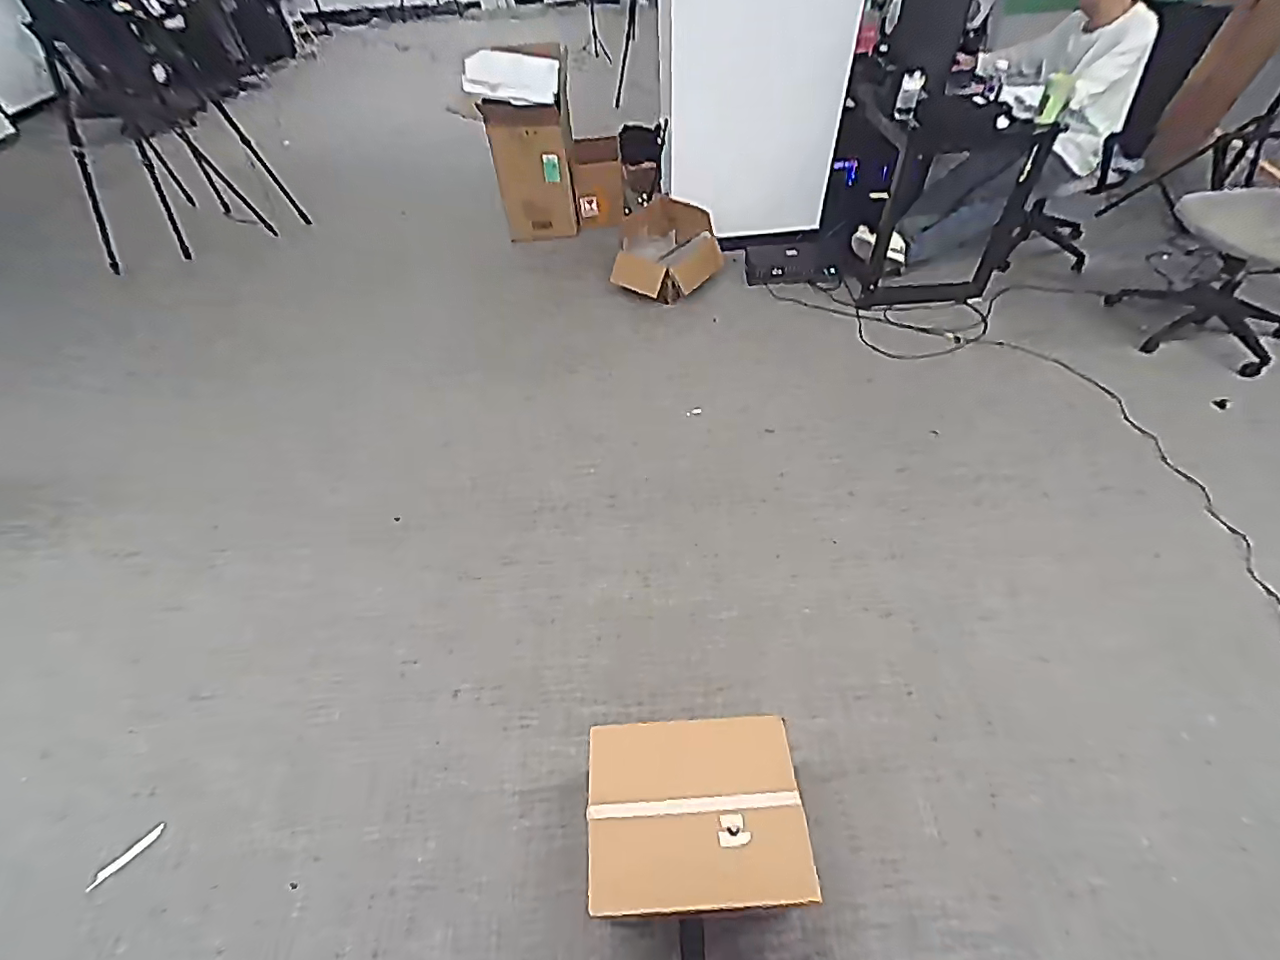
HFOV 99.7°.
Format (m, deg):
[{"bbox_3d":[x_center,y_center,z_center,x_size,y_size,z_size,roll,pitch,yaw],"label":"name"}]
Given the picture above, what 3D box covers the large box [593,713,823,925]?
[{"bbox_3d":[0.115,0.715,1.139,0.408,0.320,0.320,-4,49,-1],"label":"large box"}]
